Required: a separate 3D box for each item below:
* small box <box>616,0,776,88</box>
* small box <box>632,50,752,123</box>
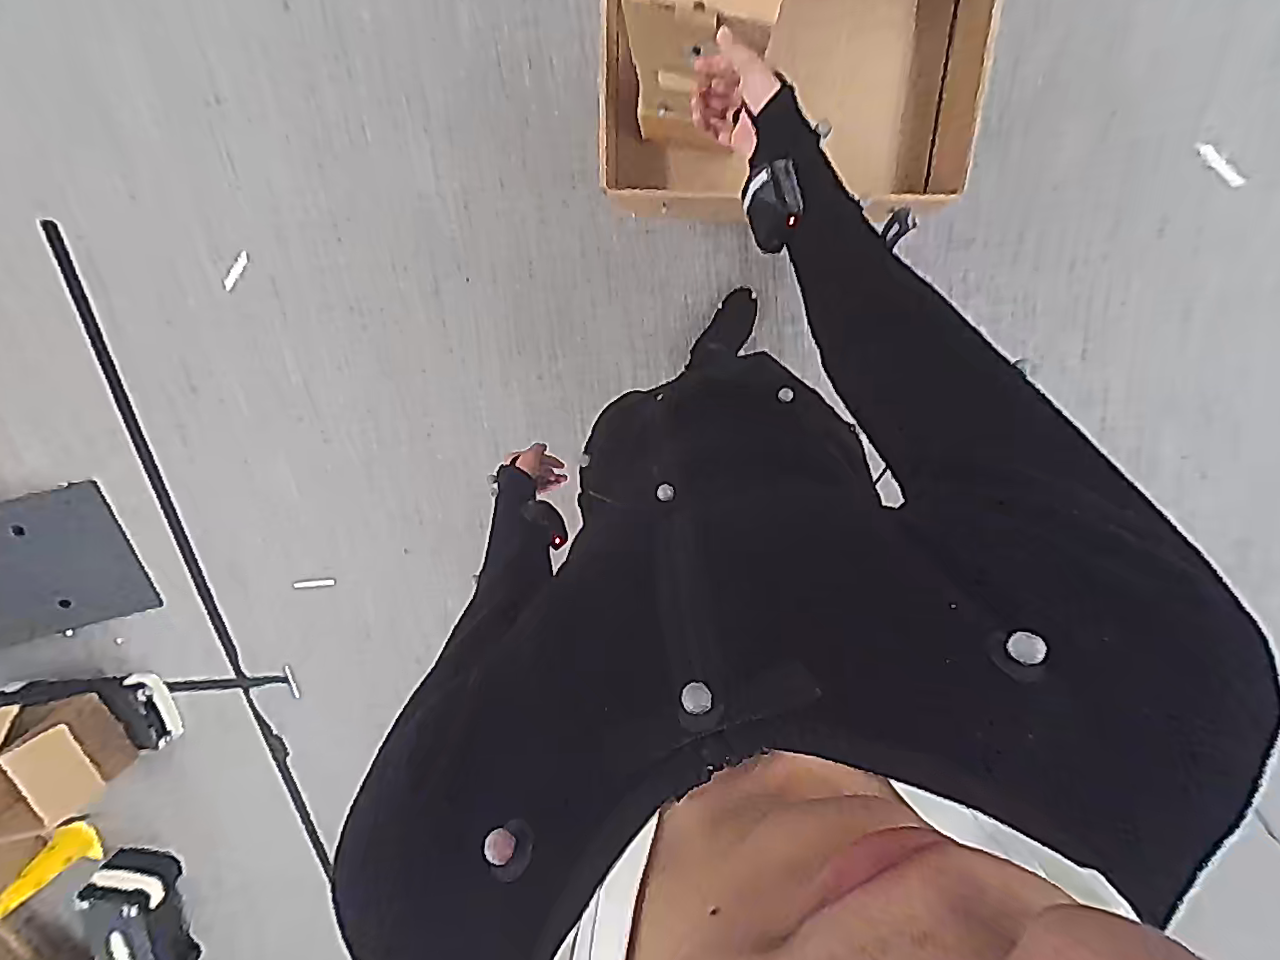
[{"bbox_3d":[0.079,-0.584,0.612,0.168,0.176,0.179,14,108,0],"label":"small box"},{"bbox_3d":[0.089,-0.638,0.767,0.168,0.176,0.179,10,107,1],"label":"small box"}]
